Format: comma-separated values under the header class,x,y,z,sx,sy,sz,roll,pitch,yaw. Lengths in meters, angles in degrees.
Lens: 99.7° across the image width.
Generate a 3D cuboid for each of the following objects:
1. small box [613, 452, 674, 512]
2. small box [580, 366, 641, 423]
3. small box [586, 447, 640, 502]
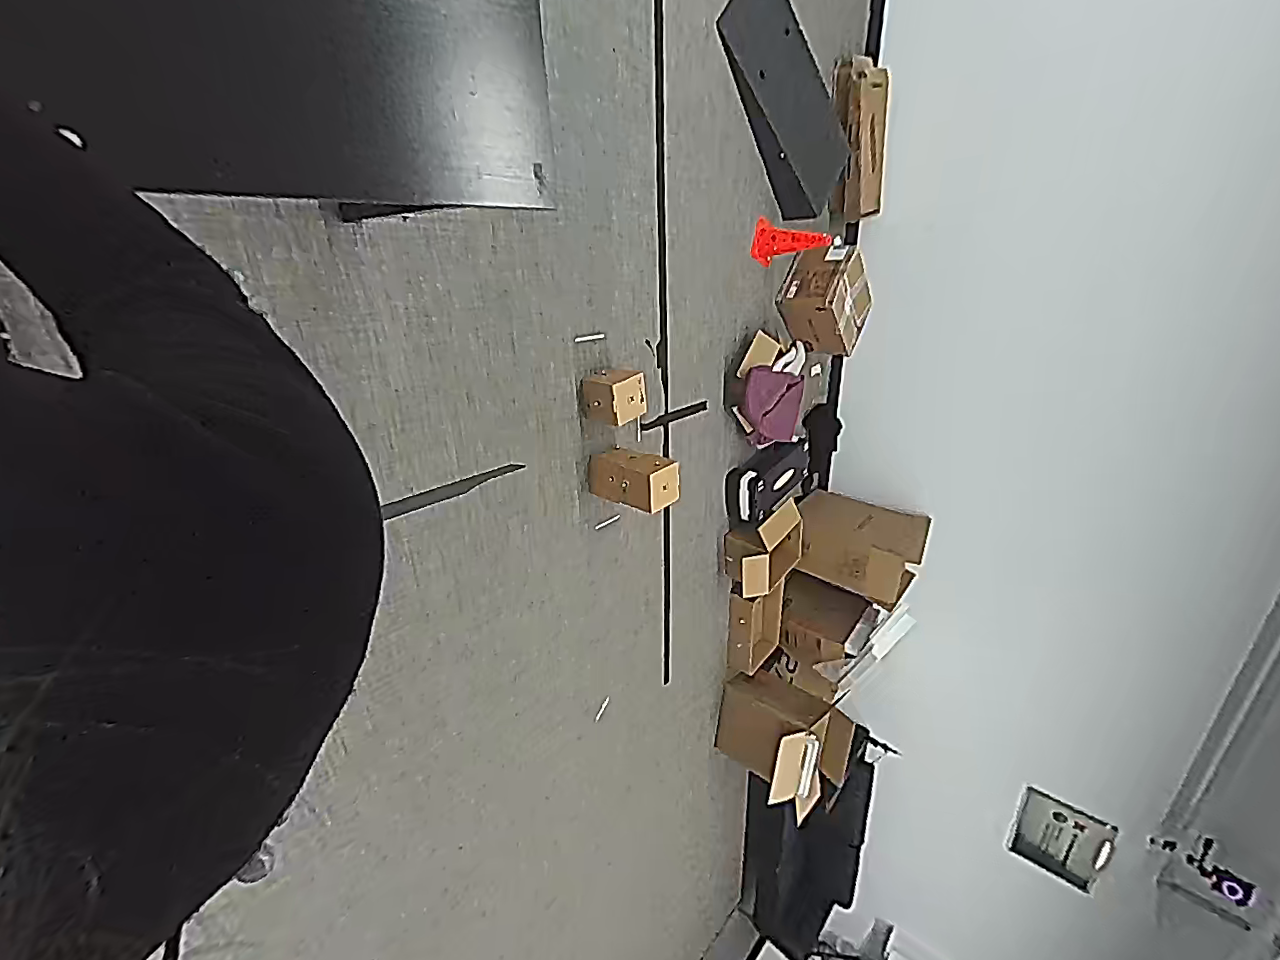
class,x,y,z,sx,sy,sz,roll,pitch,yaw
small box,0.015,0.001,2.129,0.179,0.176,0.168,-26,122,-42
small box,-0.119,-0.334,2.094,0.179,0.176,0.168,-32,127,-40
small box,-0.109,-0.033,2.228,0.168,0.176,0.179,-21,121,-45
